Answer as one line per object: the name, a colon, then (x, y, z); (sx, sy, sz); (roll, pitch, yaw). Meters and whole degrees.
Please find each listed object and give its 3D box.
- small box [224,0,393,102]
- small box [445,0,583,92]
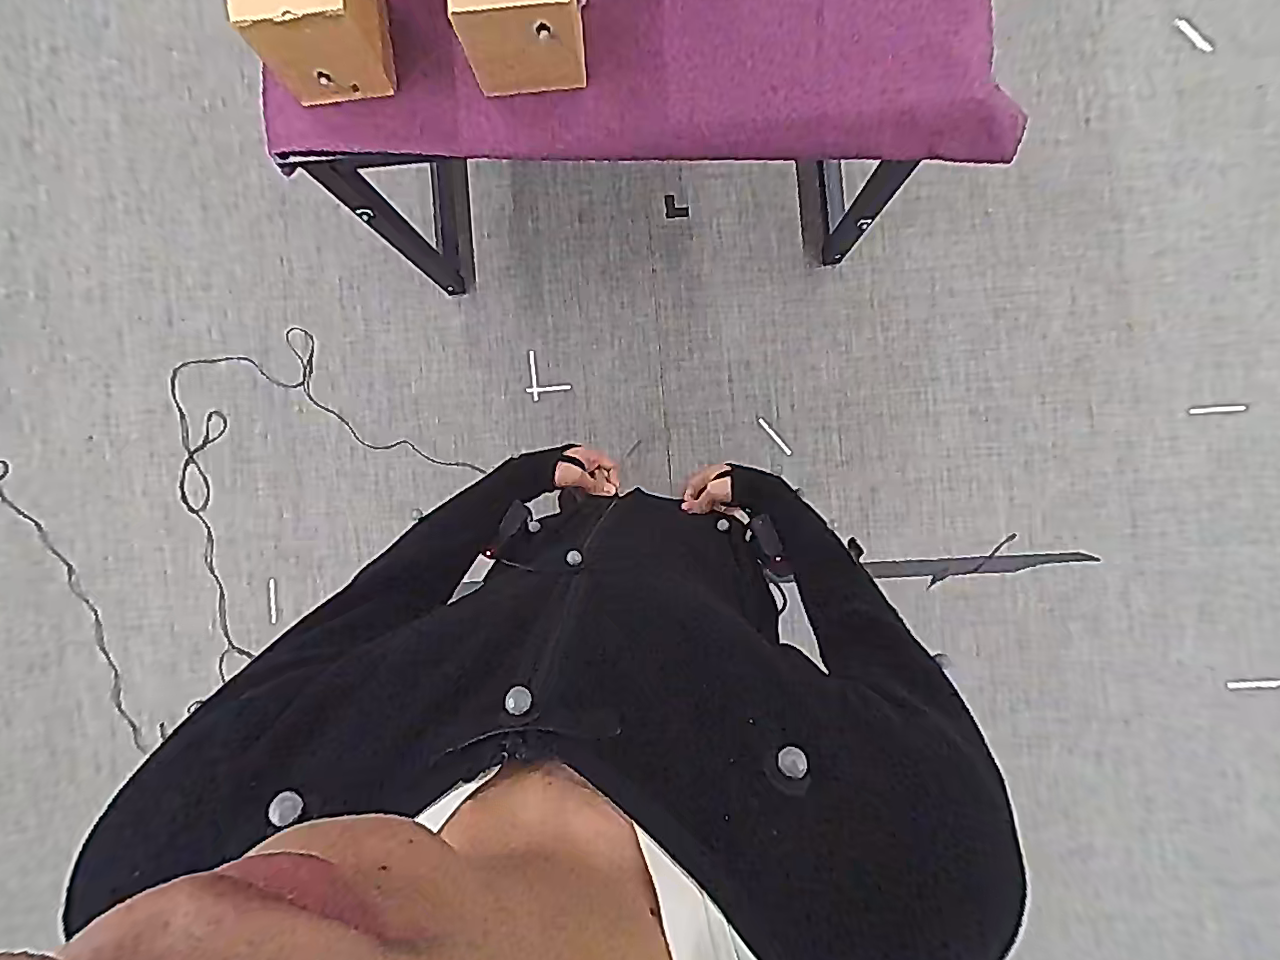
small box: (-0.506, -0.734, 0.835); (0.168, 0.176, 0.179); (-8, 90, 0)
small box: (-0.184, -0.734, 0.823); (0.179, 0.176, 0.168); (-4, 90, 3)
